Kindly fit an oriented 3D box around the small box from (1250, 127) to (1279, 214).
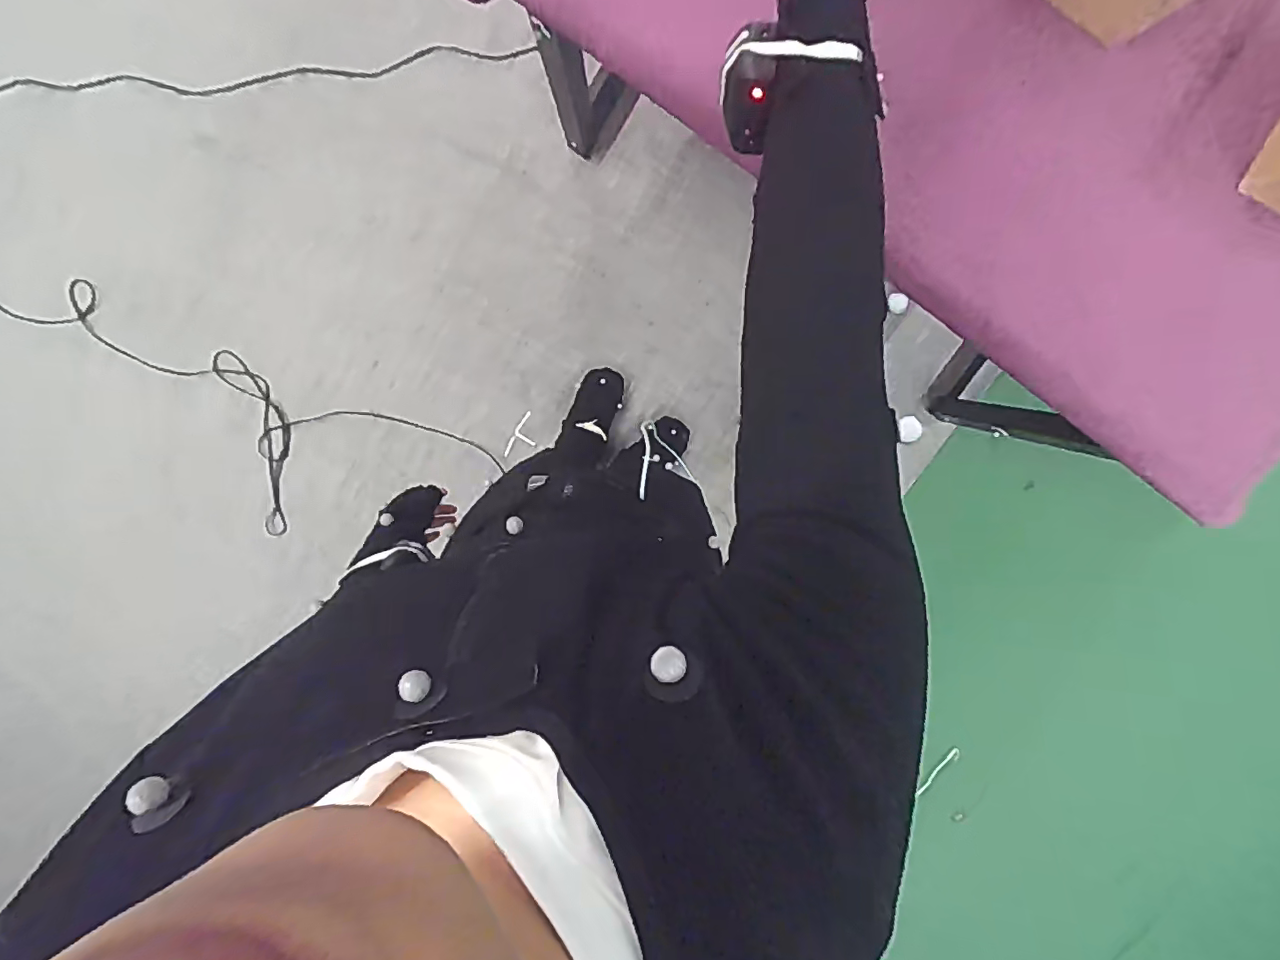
[{"bbox_3d":[0.835,-0.371,0.573,0.168,0.176,0.179,23,102,-6],"label":"small box"}]
